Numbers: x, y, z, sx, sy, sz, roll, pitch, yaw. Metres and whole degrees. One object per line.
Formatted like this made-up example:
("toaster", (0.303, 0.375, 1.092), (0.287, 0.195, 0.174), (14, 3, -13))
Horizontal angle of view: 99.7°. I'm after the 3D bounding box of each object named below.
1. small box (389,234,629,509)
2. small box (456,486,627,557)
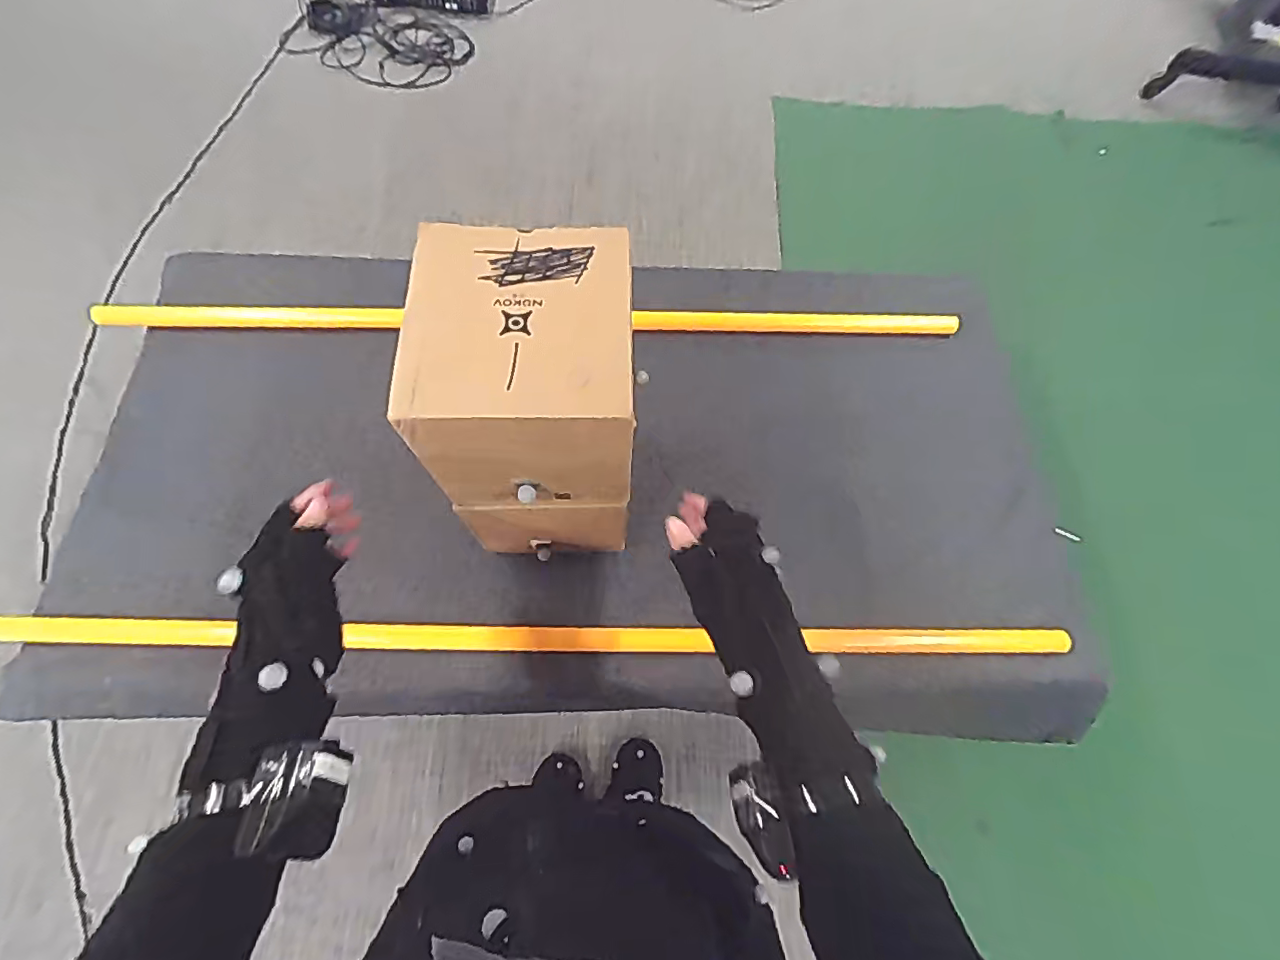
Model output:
("small box", (-0.094, -0.086, 0.476), (0.168, 0.176, 0.179), (0, 67, -2))
("small box", (-0.101, -0.018, 0.626), (0.168, 0.176, 0.179), (-2, 68, -2))
